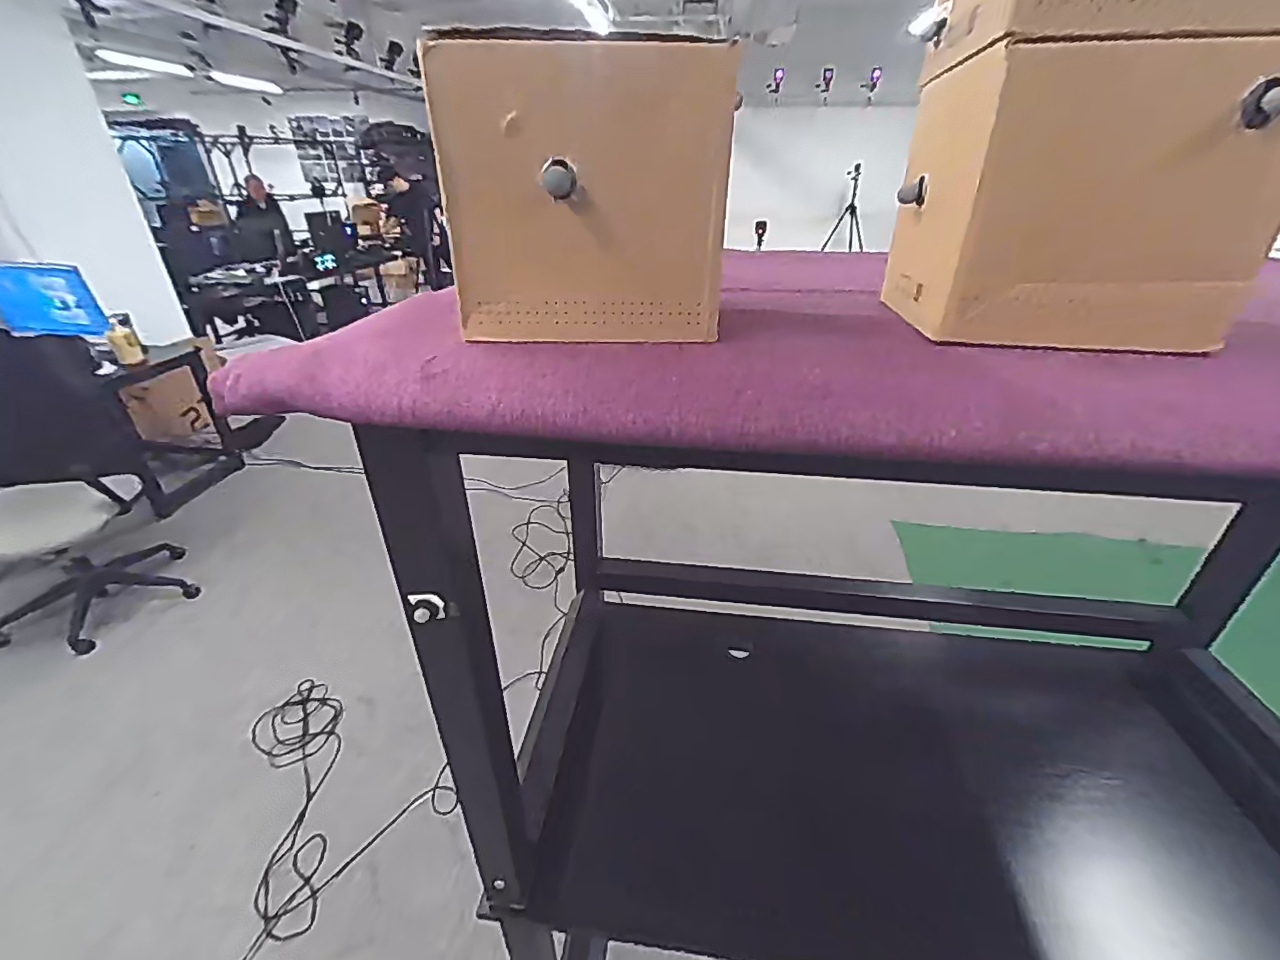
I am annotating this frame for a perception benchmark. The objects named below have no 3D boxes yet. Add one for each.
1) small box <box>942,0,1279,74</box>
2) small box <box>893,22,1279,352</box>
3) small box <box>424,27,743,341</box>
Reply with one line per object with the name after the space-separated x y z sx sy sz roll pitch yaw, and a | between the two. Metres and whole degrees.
0.300 -0.341 0.312 0.179 0.176 0.168 6 29 7 | small box
0.297 -0.194 0.386 0.179 0.176 0.168 5 29 8 | small box
-0.030 -0.204 0.396 0.179 0.176 0.168 -1 31 -1 | small box
